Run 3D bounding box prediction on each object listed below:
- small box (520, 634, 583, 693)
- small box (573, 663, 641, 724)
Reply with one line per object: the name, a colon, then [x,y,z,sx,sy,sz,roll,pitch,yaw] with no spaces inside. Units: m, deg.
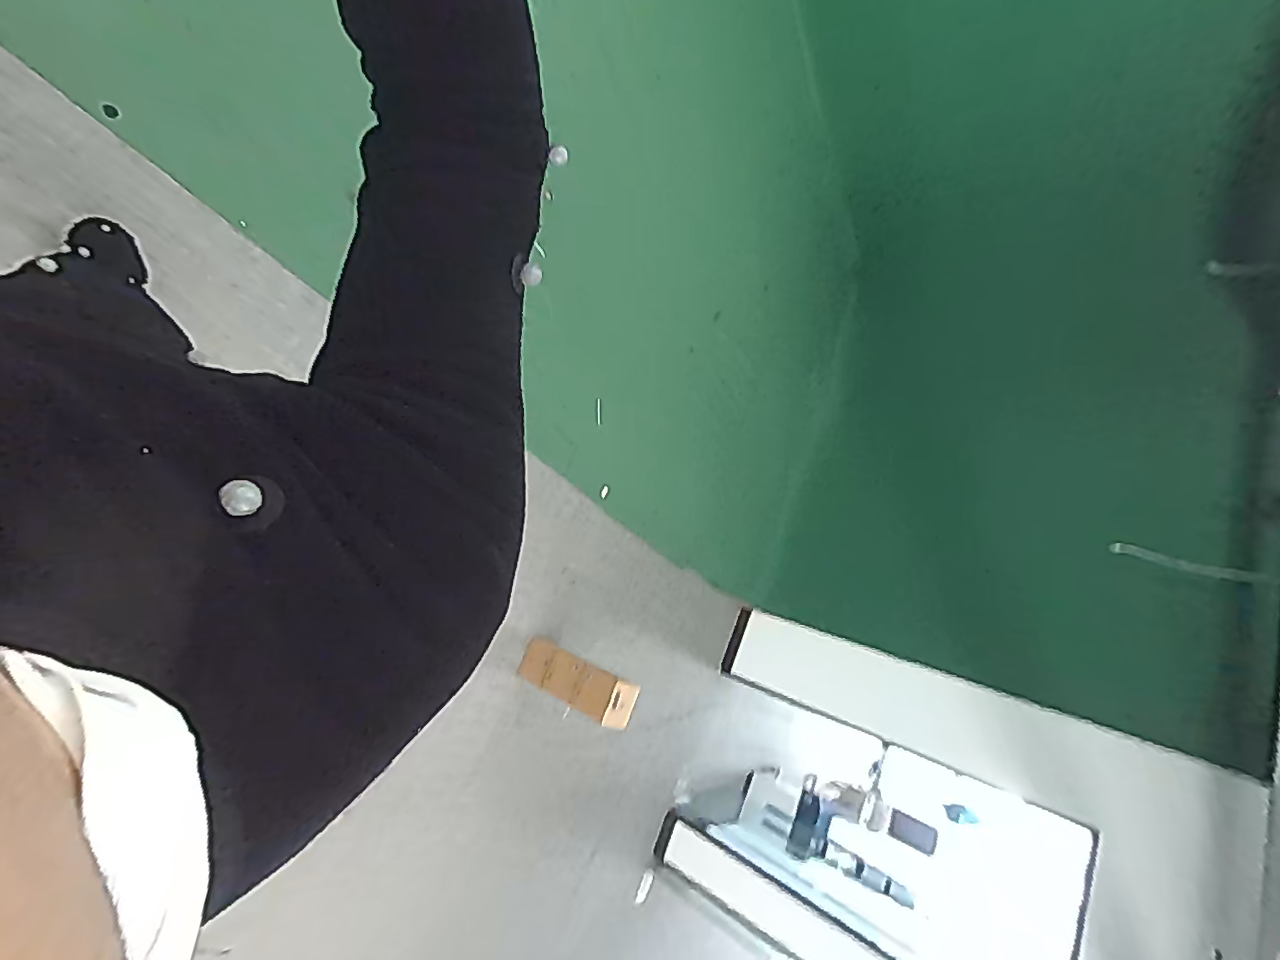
small box: [-0.379,0.776,2.295,0.168,0.176,0.179,42,67,-48]
small box: [-0.130,0.821,2.086,0.179,0.176,0.168,40,67,-50]
